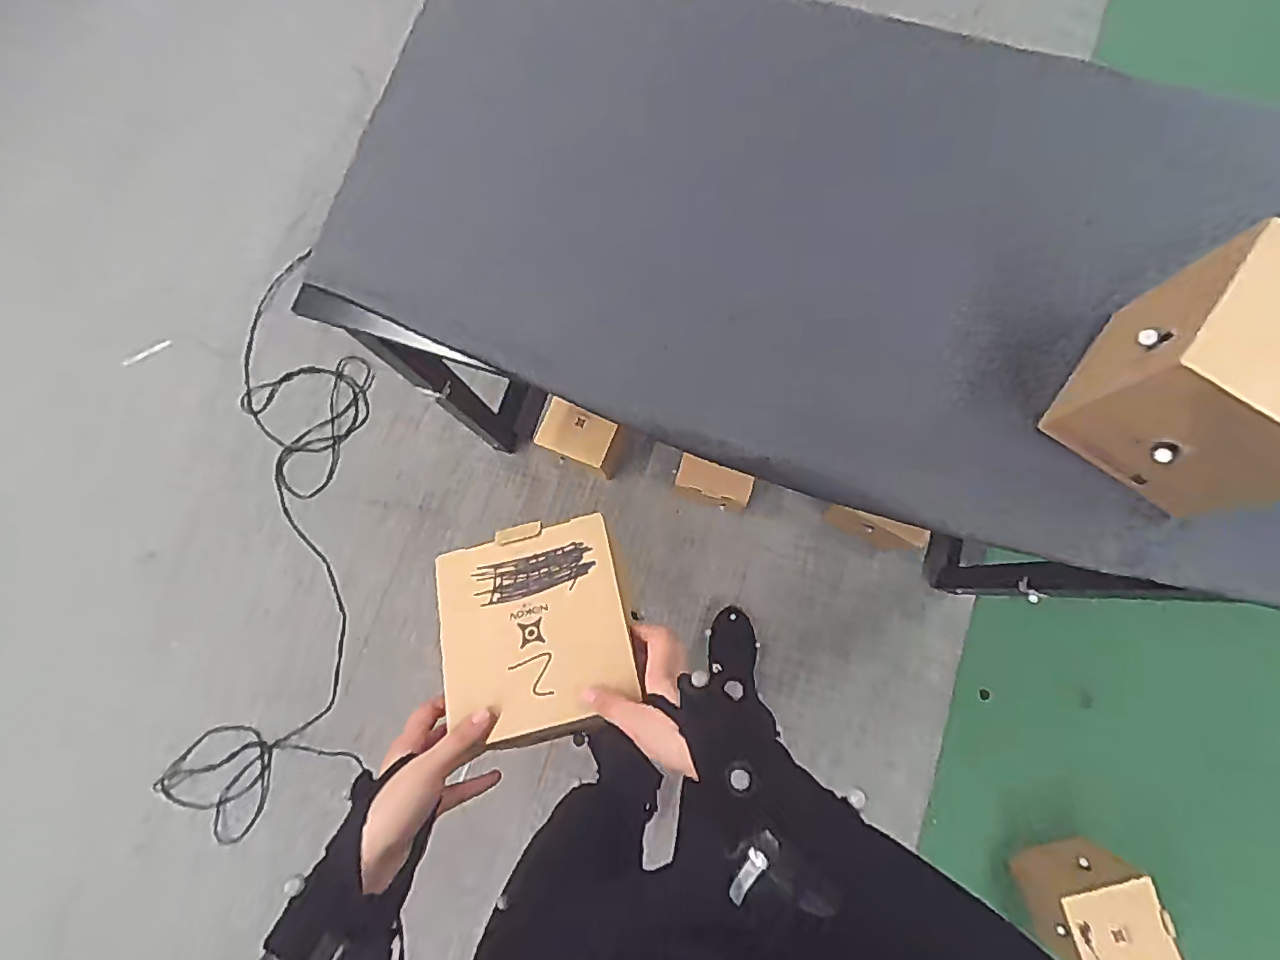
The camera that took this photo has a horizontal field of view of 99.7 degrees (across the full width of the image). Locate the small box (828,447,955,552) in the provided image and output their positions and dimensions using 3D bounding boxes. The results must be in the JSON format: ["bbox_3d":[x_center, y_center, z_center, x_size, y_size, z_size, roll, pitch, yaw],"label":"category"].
[{"bbox_3d":[0.557,0.054,1.224,0.179,0.176,0.168,31,82,6],"label":"small box"}]

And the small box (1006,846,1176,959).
[{"bbox_3d":[0.874,0.856,1.059,0.179,0.176,0.168,-13,79,-1],"label":"small box"}]

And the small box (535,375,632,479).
[{"bbox_3d":[-0.125,-0.117,1.288,0.168,0.176,0.179,22,80,7],"label":"small box"}]

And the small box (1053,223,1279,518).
[{"bbox_3d":[0.544,-0.085,0.506,0.168,0.176,0.179,39,81,9],"label":"small box"}]

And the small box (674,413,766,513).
[{"bbox_3d":[0.180,-0.032,1.257,0.168,0.176,0.179,16,79,5],"label":"small box"}]
